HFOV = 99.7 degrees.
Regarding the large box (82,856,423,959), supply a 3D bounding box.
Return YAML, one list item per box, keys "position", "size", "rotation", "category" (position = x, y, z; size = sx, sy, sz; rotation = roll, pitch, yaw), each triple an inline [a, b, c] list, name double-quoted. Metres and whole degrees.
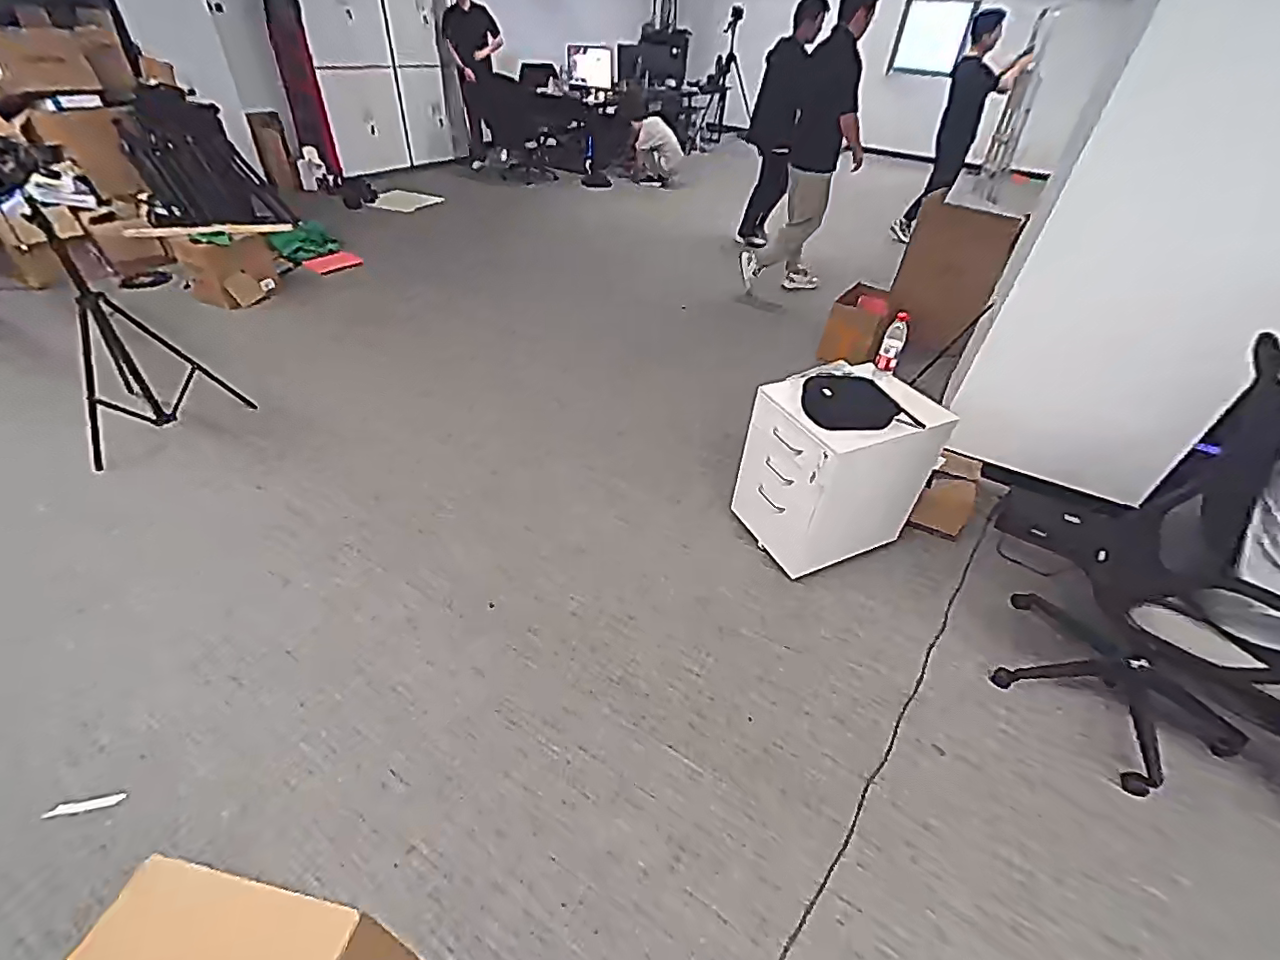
- position: [-0.477, 0.729, 0.653]
  size: [0.320, 0.408, 0.320]
  rotation: [5, 38, 16]
  category: "large box"
